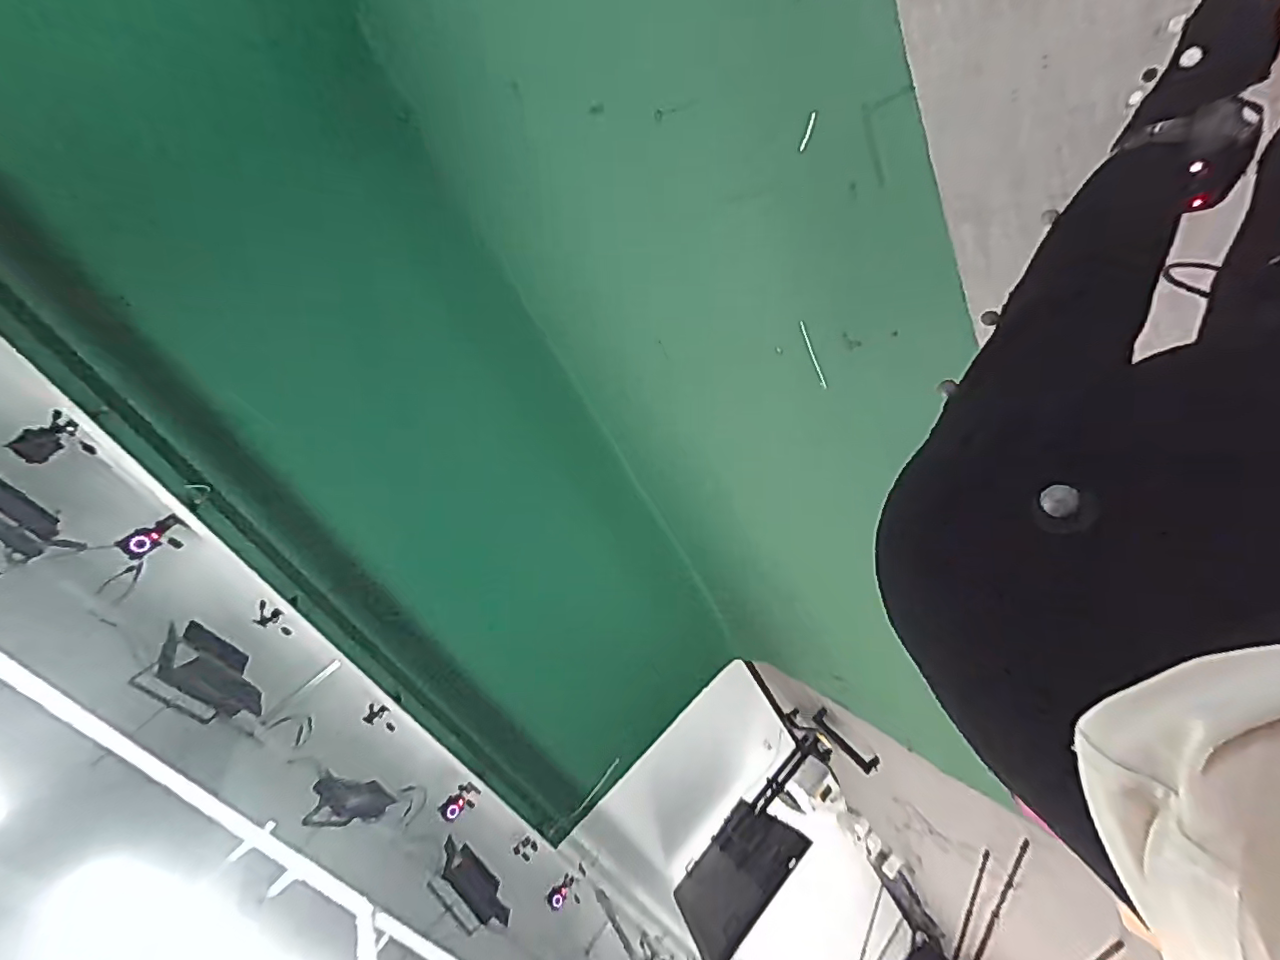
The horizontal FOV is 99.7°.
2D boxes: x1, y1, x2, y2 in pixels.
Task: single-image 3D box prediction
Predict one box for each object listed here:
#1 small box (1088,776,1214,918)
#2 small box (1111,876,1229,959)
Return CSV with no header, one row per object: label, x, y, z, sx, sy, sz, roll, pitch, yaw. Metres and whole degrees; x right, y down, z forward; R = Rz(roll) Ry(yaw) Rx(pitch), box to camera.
small box,1.169,0.829,1.235,0.168,0.176,0.179,15,142,57
small box,1.316,1.057,1.341,0.168,0.176,0.179,11,136,59
